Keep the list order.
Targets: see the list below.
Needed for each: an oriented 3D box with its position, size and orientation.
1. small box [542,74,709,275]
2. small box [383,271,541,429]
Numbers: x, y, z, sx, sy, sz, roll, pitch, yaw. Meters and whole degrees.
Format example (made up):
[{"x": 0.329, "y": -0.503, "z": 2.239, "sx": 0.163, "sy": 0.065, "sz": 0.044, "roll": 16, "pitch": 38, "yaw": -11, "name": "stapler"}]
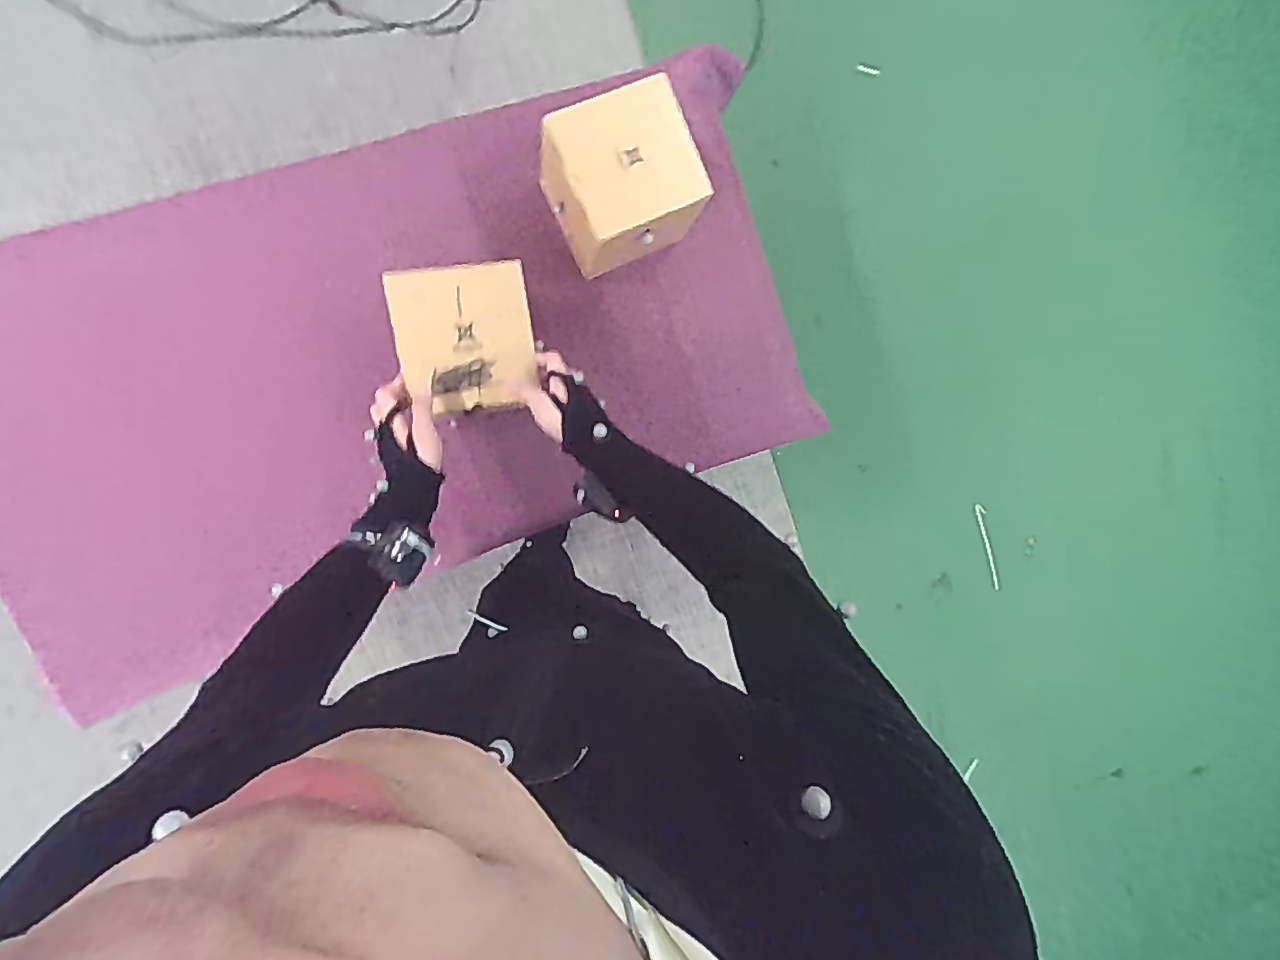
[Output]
[{"x": -0.030, "y": -0.422, "z": 0.776, "sx": 0.179, "sy": 0.176, "sz": 0.168, "roll": -27, "pitch": 99, "yaw": -6, "name": "small box"}, {"x": -0.230, "y": -0.172, "z": 0.745, "sx": 0.168, "sy": 0.176, "sz": 0.179, "roll": -10, "pitch": 99, "yaw": -10, "name": "small box"}]
